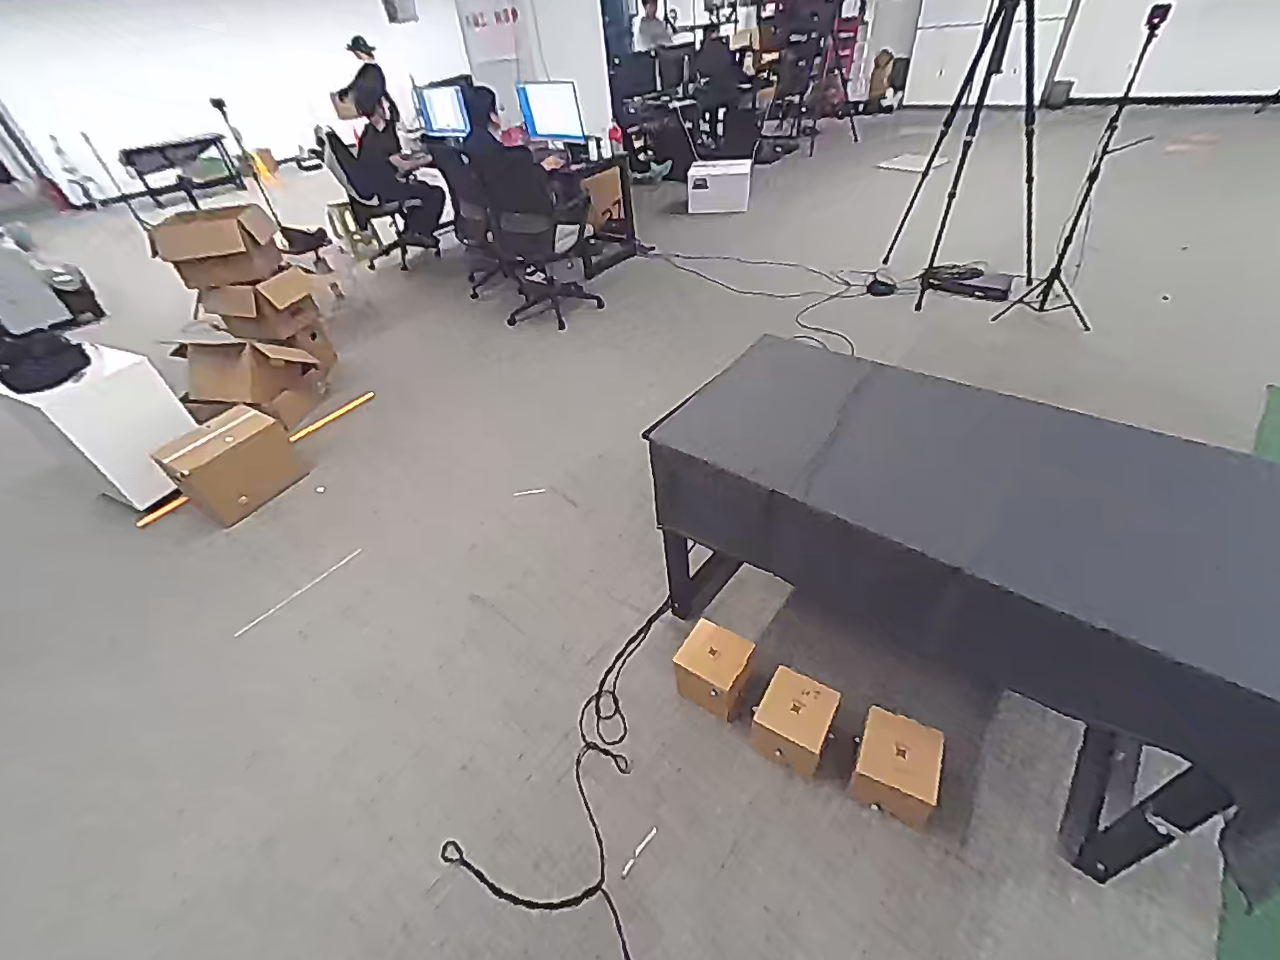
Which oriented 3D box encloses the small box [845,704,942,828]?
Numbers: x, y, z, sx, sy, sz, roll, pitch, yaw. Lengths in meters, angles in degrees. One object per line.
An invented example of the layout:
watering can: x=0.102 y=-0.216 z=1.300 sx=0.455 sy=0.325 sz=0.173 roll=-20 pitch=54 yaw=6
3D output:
small box: x=0.601 y=0.683 z=1.292 sx=0.168 sy=0.176 sz=0.179 roll=16 pitch=45 yaw=24
